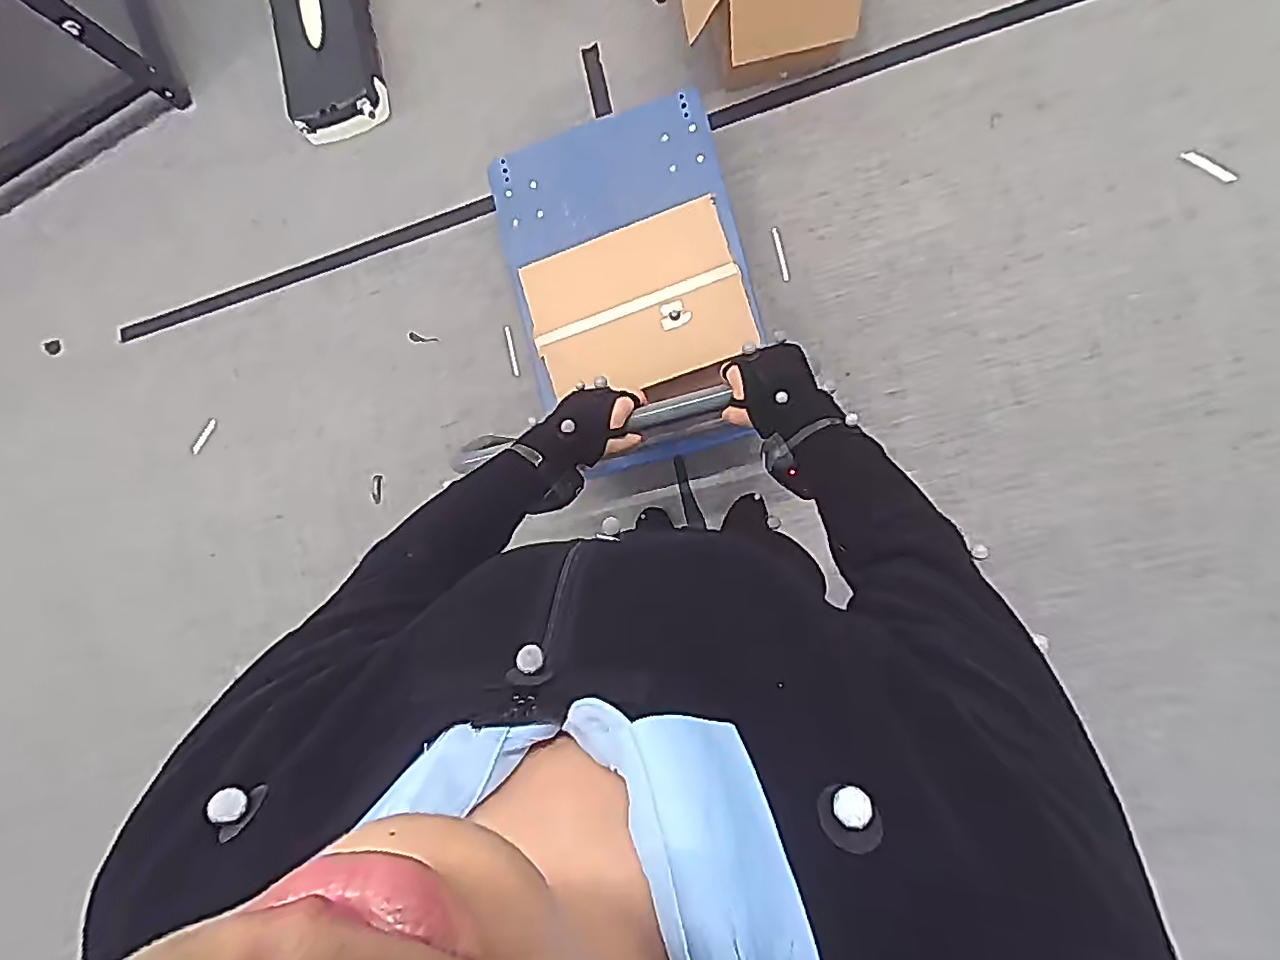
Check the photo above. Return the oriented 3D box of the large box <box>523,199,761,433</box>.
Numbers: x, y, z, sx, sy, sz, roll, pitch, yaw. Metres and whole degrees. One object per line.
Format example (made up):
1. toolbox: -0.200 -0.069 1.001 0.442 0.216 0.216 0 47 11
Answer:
1. large box: 0.015 -0.326 1.192 0.408 0.320 0.320 -18 87 7
